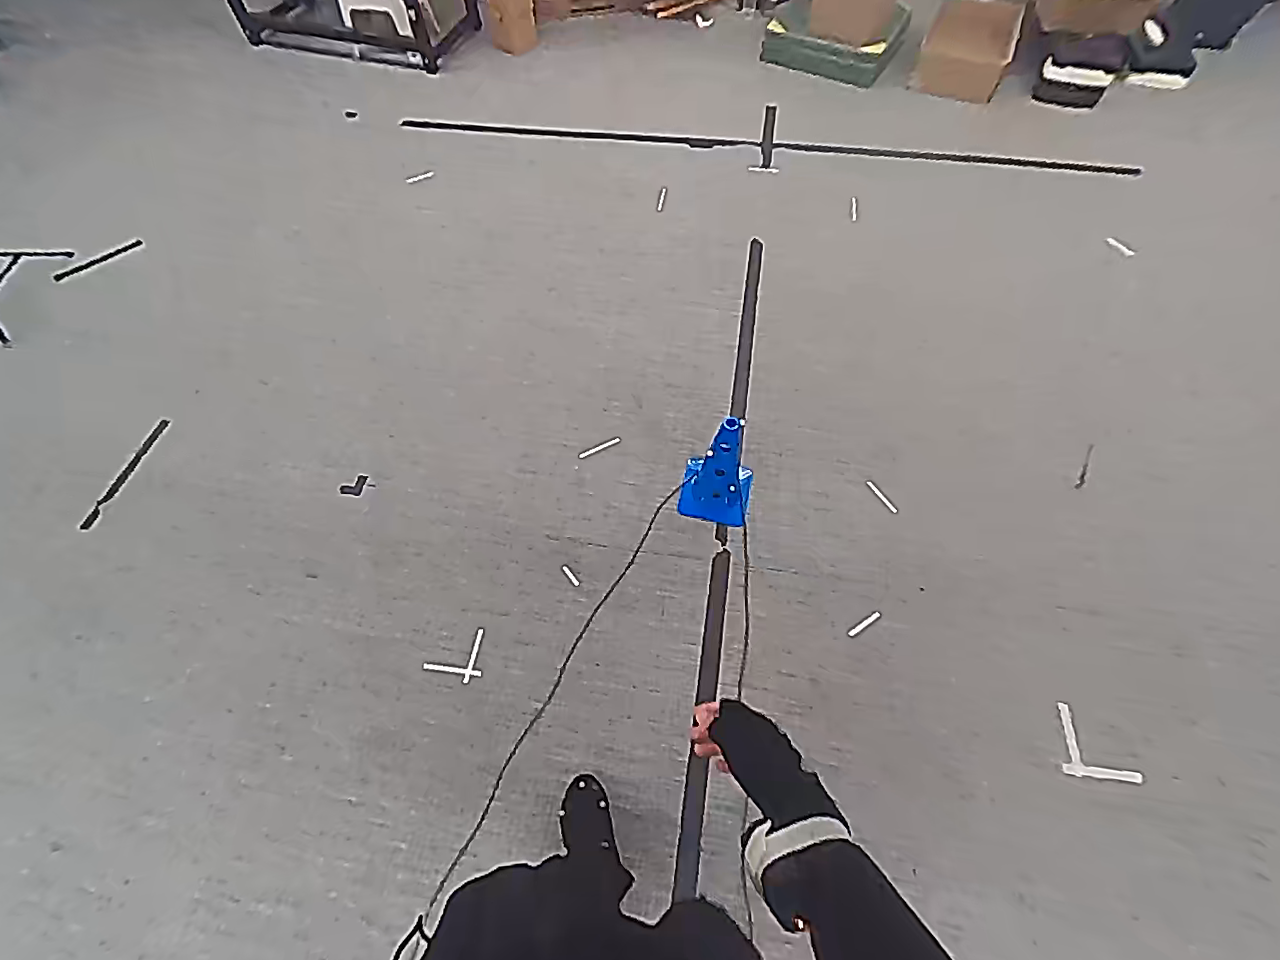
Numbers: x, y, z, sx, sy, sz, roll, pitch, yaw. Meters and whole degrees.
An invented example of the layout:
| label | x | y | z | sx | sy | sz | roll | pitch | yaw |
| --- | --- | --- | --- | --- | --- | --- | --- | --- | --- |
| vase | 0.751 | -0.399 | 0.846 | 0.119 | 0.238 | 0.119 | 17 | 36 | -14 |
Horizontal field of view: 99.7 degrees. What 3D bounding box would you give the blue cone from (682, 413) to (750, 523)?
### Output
| label | x | y | z | sx | sy | sz | roll | pitch | yaw |
| --- | --- | --- | --- | --- | --- | --- | --- | --- | --- |
| blue cone | 0.219 | -0.047 | 1.444 | 0.193 | 0.380 | 0.192 | 10 | 62 | 7 |
